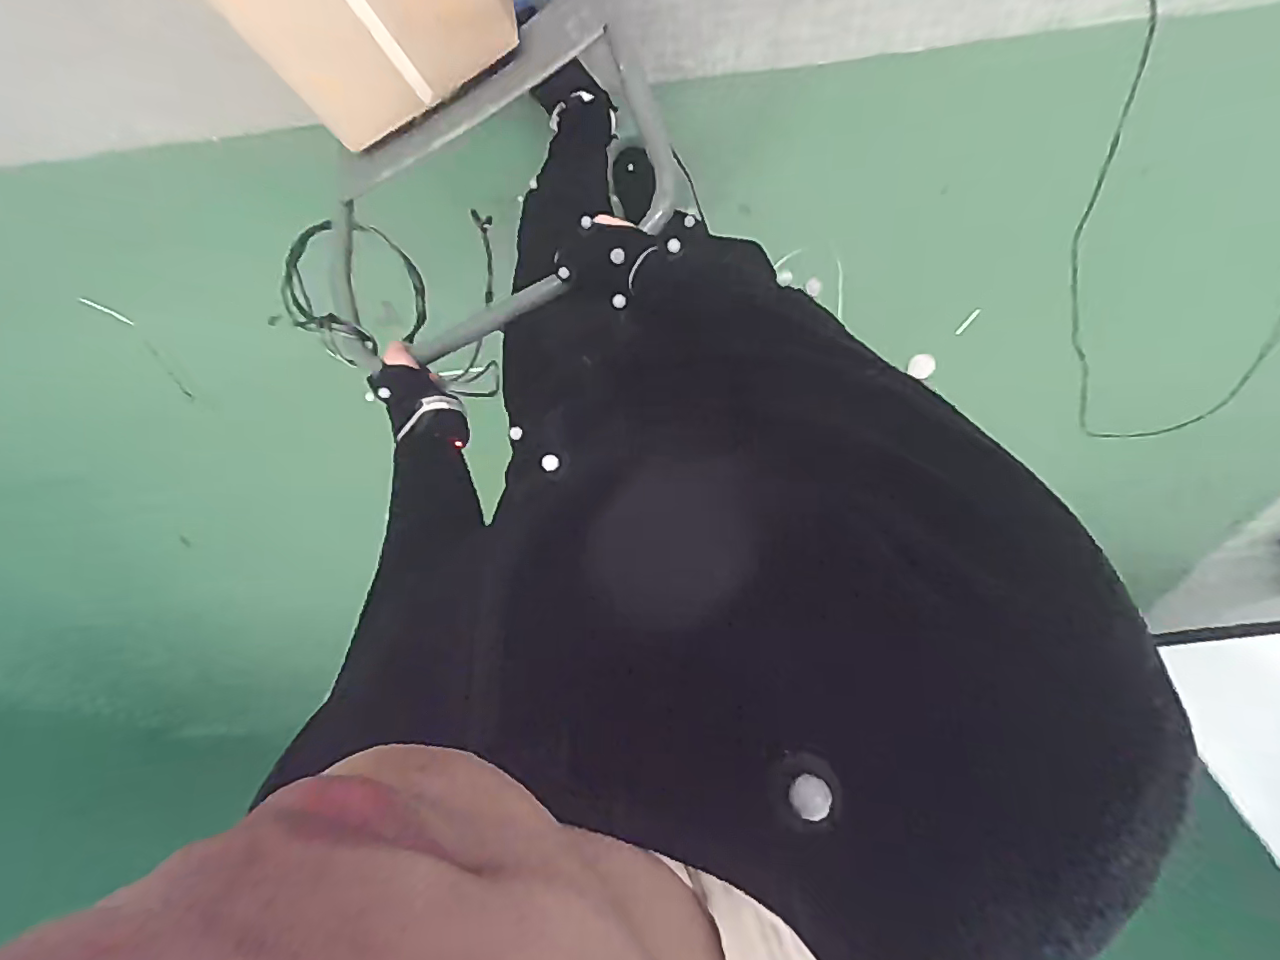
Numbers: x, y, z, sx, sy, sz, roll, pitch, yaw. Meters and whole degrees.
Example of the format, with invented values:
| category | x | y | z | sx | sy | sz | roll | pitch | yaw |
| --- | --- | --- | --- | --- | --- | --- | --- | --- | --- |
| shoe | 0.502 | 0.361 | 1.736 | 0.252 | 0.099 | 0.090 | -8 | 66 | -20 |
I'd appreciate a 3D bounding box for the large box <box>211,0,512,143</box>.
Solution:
| category | x | y | z | sx | sy | sz | roll | pitch | yaw |
| --- | --- | --- | --- | --- | --- | --- | --- | --- | --- |
| large box | -0.408 | -0.762 | 0.690 | 0.320 | 0.320 | 0.408 | -19 | 151 | 15 |
